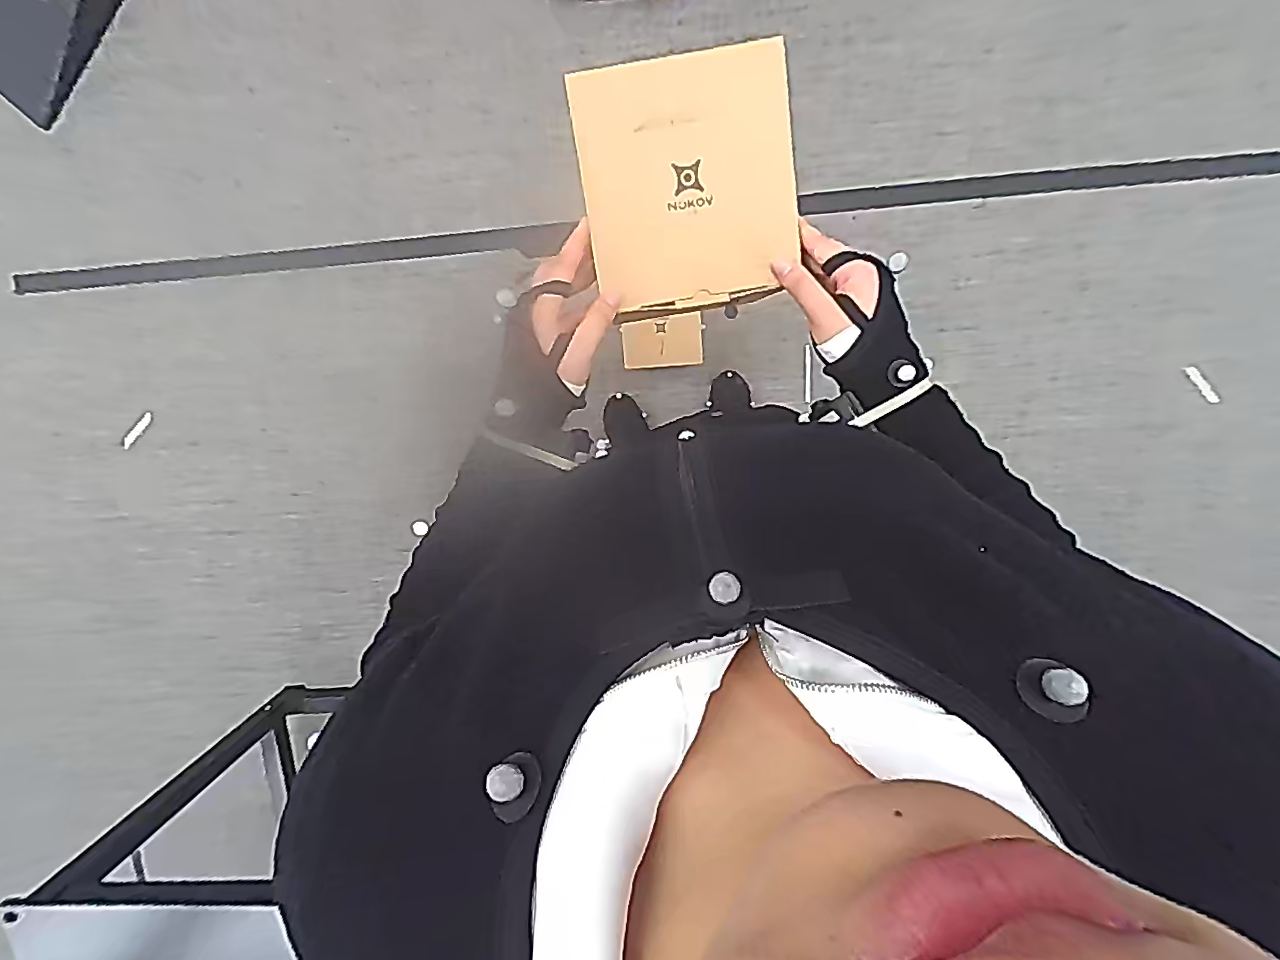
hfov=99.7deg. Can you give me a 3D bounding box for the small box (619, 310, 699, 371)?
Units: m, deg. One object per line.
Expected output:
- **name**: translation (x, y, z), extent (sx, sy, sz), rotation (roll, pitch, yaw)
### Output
- **small box**: translation (0.039, -0.334, 1.192), extent (0.168, 0.176, 0.179), rotation (-3, 102, 2)

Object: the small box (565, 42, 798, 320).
- **small box**: translation (0.035, -0.248, 0.498), extent (0.168, 0.176, 0.179), rotation (-9, 103, 0)
